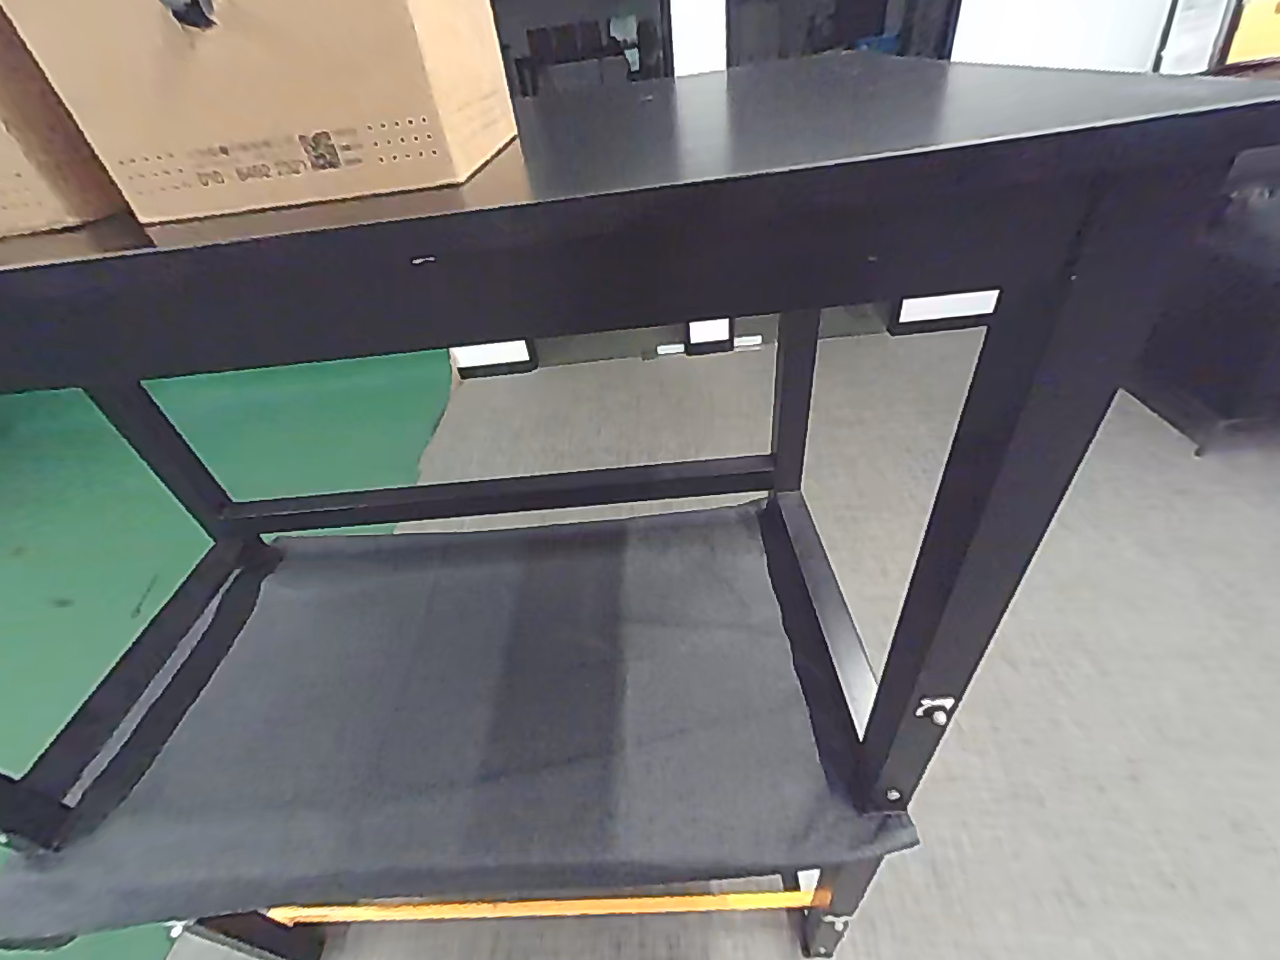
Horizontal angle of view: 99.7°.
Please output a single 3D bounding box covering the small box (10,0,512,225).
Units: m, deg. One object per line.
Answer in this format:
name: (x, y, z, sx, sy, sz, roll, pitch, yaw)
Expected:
small box: (-0.177, -0.244, 0.285, 0.168, 0.176, 0.179, -5, 39, 3)
